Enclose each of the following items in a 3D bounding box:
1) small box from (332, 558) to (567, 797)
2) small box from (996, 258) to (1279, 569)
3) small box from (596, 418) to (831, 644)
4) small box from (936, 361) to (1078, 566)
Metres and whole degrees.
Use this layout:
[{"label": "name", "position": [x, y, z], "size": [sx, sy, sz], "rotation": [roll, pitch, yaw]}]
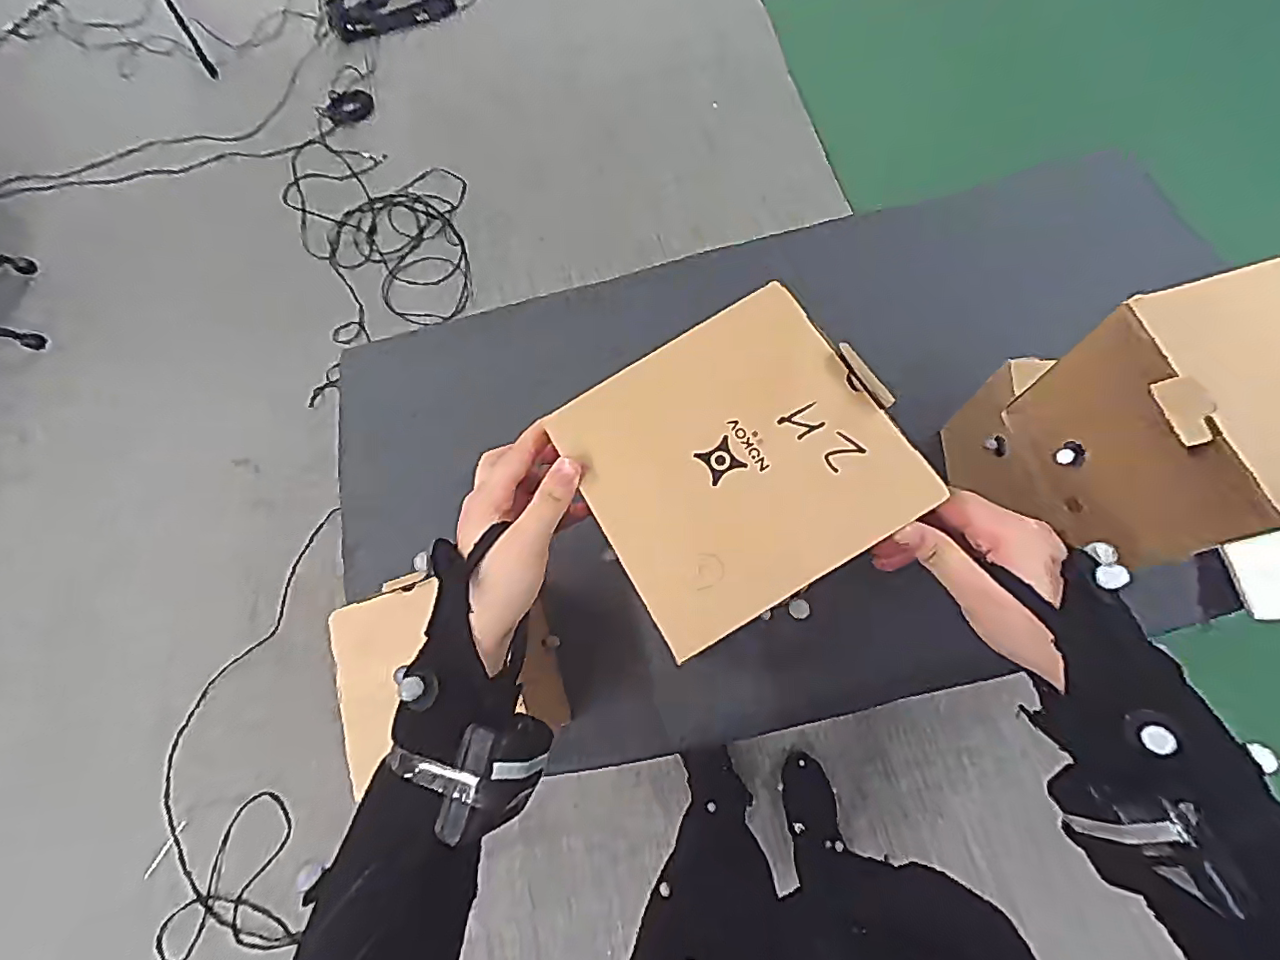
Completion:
[{"label": "small box", "position": [-0.193, 0.206, 0.581], "size": [0.168, 0.176, 0.179], "rotation": [-20, 70, 0]}, {"label": "small box", "position": [0.429, -0.042, 0.416], "size": [0.179, 0.176, 0.168], "rotation": [-17, 70, 2]}, {"label": "small box", "position": [0.076, 0.068, 0.598], "size": [0.179, 0.176, 0.168], "rotation": [-31, 71, -5]}, {"label": "small box", "position": [0.440, -0.010, 0.577], "size": [0.168, 0.176, 0.179], "rotation": [-2, 71, 7]}]
